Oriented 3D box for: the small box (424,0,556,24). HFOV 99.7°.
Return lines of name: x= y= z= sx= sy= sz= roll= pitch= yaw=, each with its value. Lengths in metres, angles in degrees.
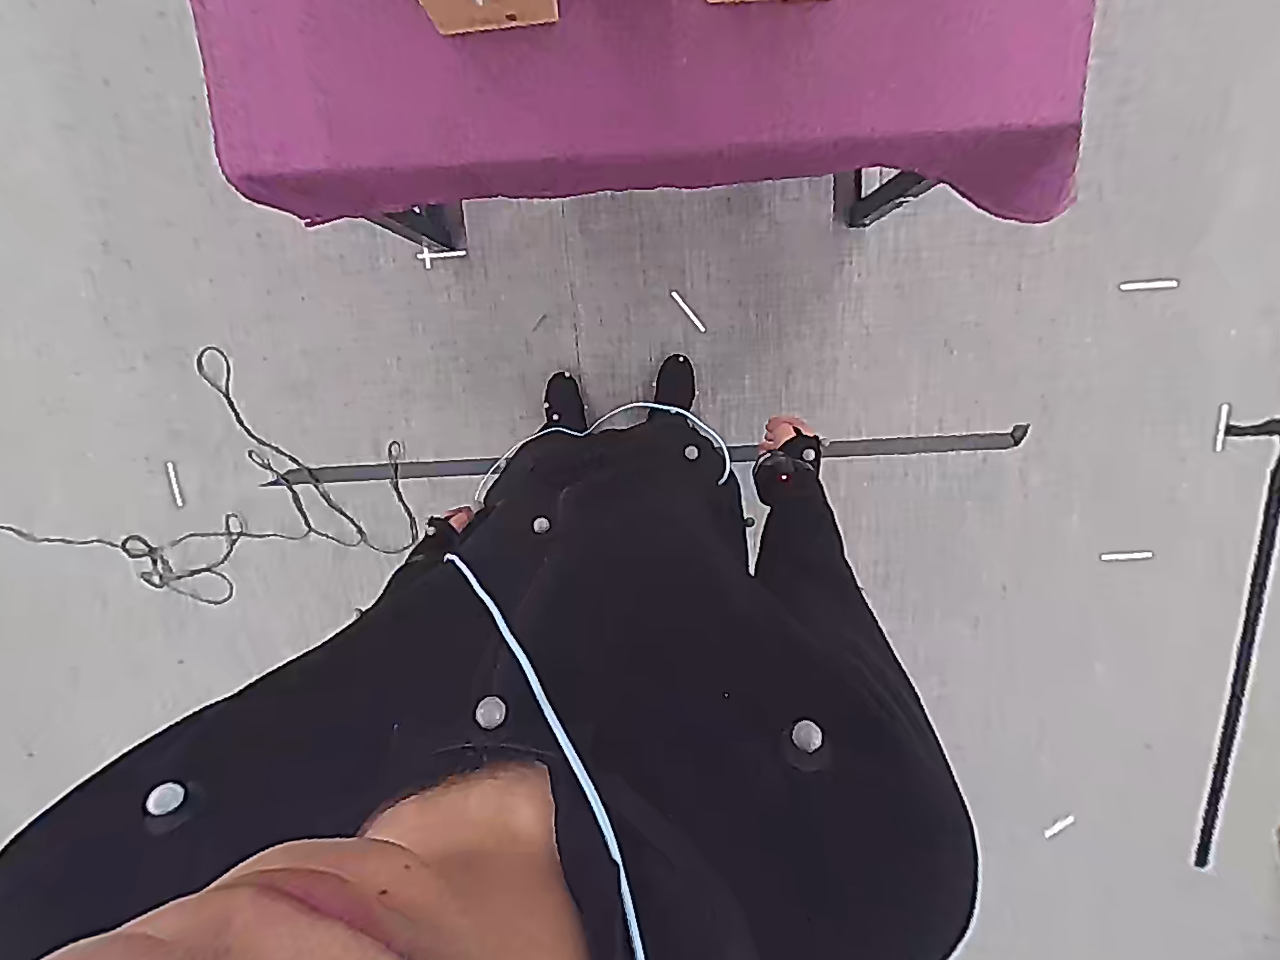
small box: x=-0.199 y=-0.677 z=0.634 sx=0.168 sy=0.176 sz=0.179 roll=-5 pitch=103 yaw=1
